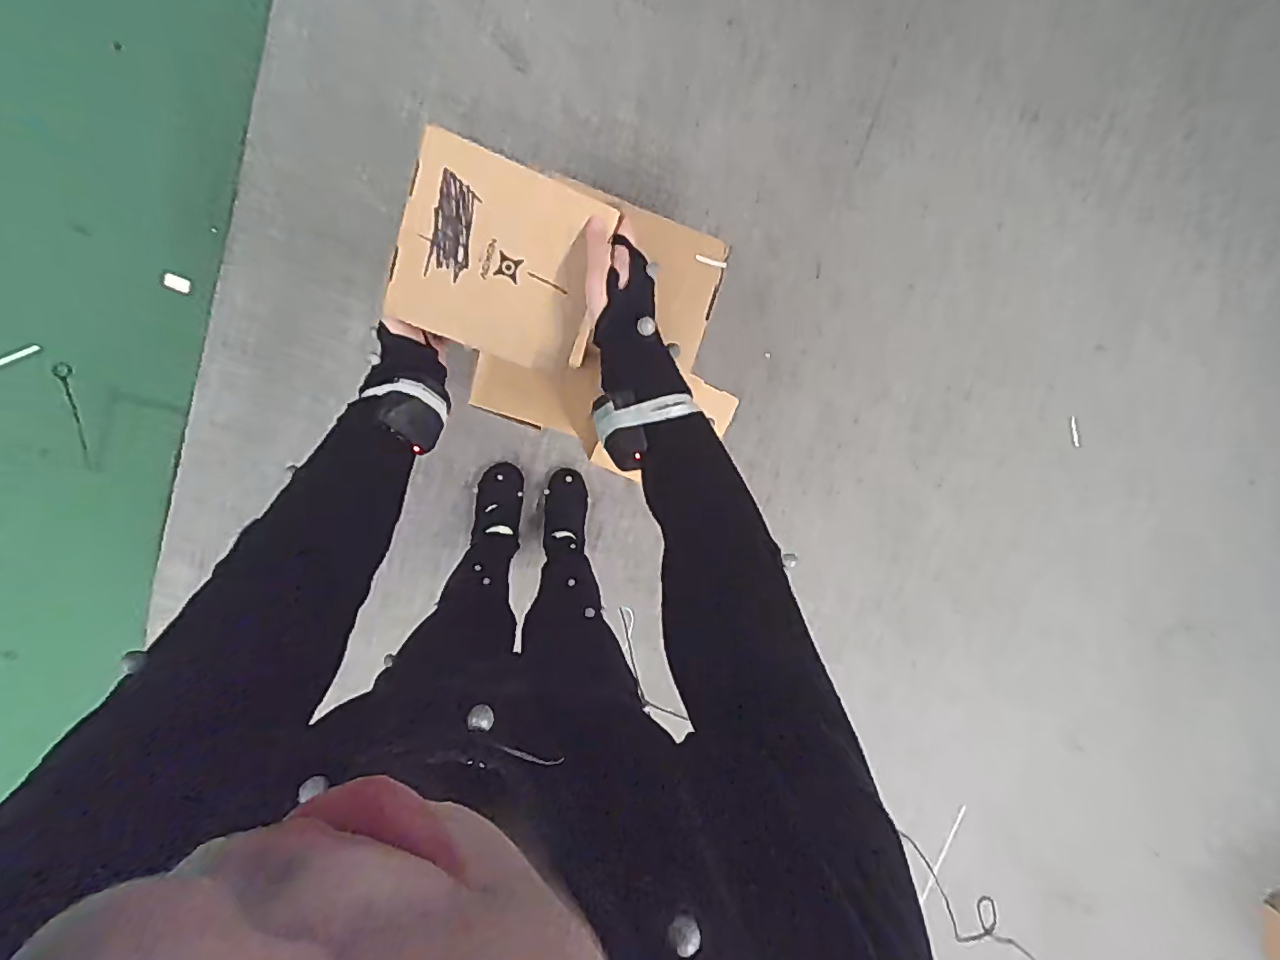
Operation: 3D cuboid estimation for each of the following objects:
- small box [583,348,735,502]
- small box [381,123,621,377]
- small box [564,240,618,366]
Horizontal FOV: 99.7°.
[{"bbox_3d":[0.018,-0.091,0.856,0.168,0.176,0.179,25,96,-14],"label":"small box"},{"bbox_3d":[-0.135,-0.226,0.562,0.179,0.176,0.168,20,108,-14],"label":"small box"},{"bbox_3d":[-0.146,-0.276,0.791,0.168,0.176,0.179,17,98,-13],"label":"small box"}]
